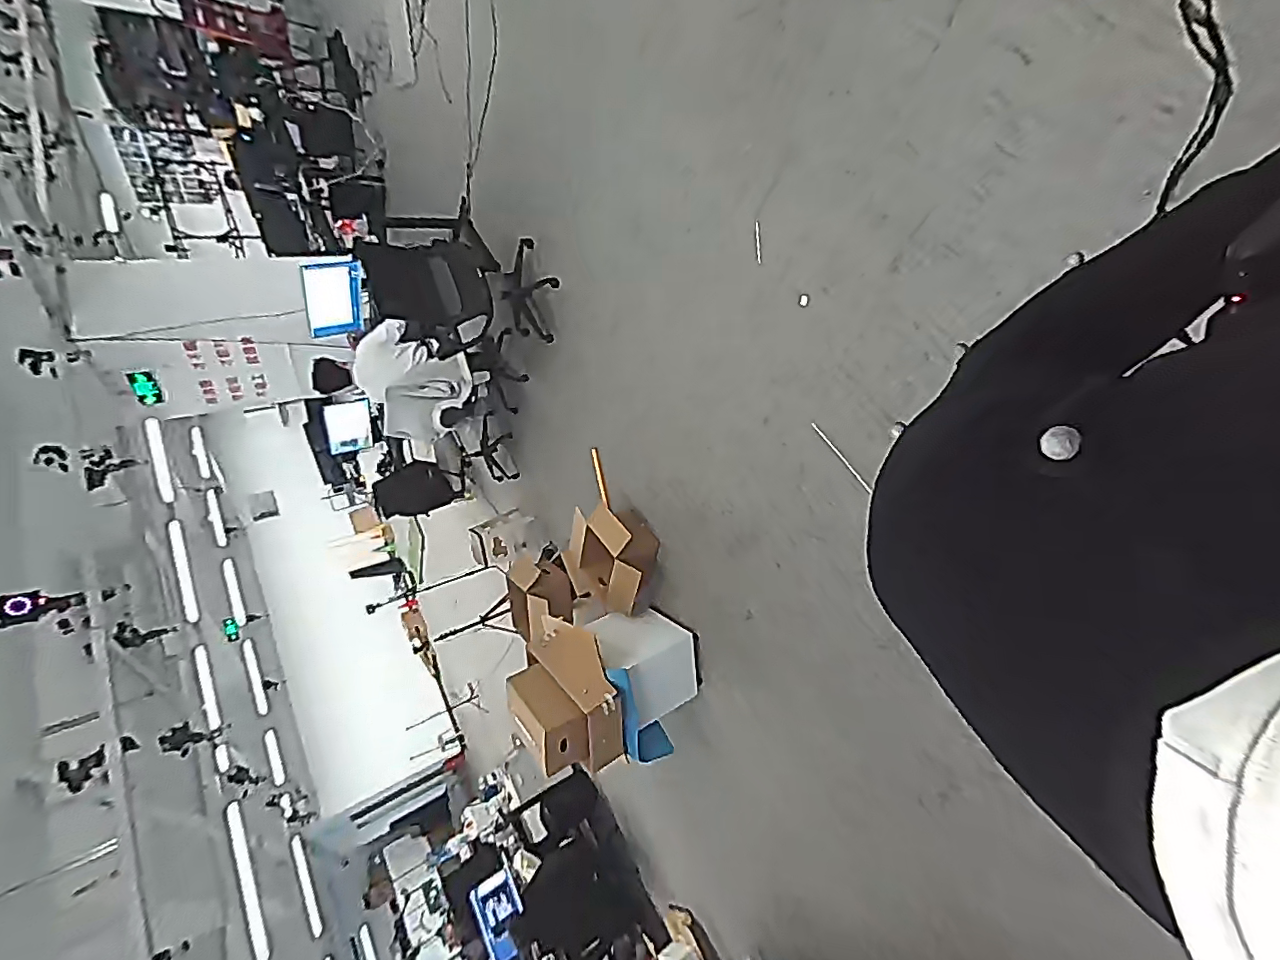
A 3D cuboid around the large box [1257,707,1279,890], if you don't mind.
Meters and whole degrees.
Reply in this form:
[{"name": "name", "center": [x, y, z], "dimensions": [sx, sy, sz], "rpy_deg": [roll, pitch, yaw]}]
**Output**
[{"name": "large box", "center": [1.434, 0.652, 0.953], "dimensions": [0.408, 0.320, 0.320], "rpy_deg": [-8, 99, 56]}]
